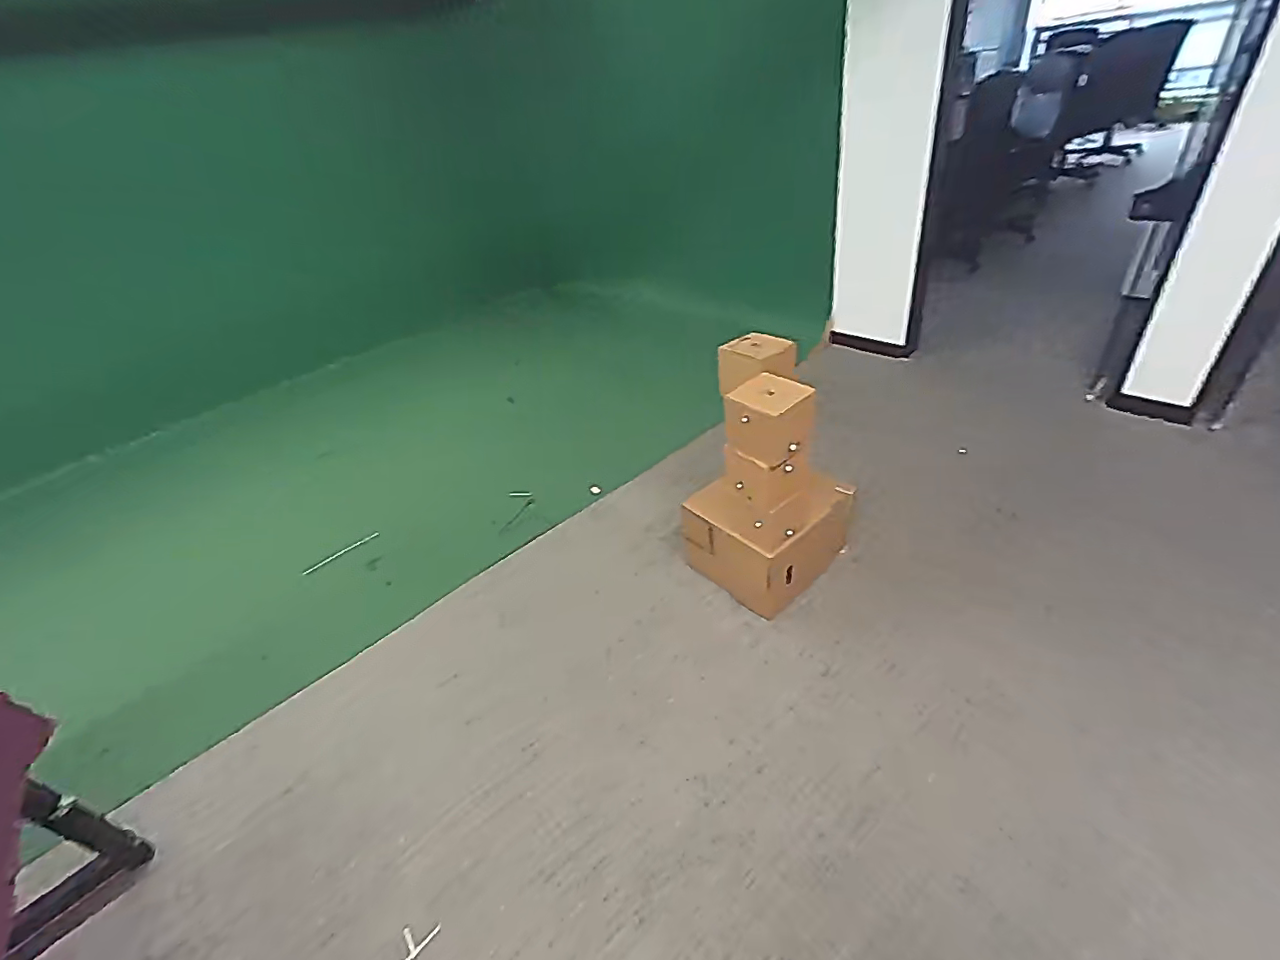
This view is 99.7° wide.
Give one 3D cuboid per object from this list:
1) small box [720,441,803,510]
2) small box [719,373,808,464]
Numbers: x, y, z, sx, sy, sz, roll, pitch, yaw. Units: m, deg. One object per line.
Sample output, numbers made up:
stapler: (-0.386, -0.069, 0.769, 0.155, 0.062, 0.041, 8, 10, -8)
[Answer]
small box: (0.354, -0.043, 1.590, 0.179, 0.176, 0.168, -30, 42, -23)
small box: (0.338, -0.169, 1.487, 0.168, 0.176, 0.179, -33, 44, -26)
